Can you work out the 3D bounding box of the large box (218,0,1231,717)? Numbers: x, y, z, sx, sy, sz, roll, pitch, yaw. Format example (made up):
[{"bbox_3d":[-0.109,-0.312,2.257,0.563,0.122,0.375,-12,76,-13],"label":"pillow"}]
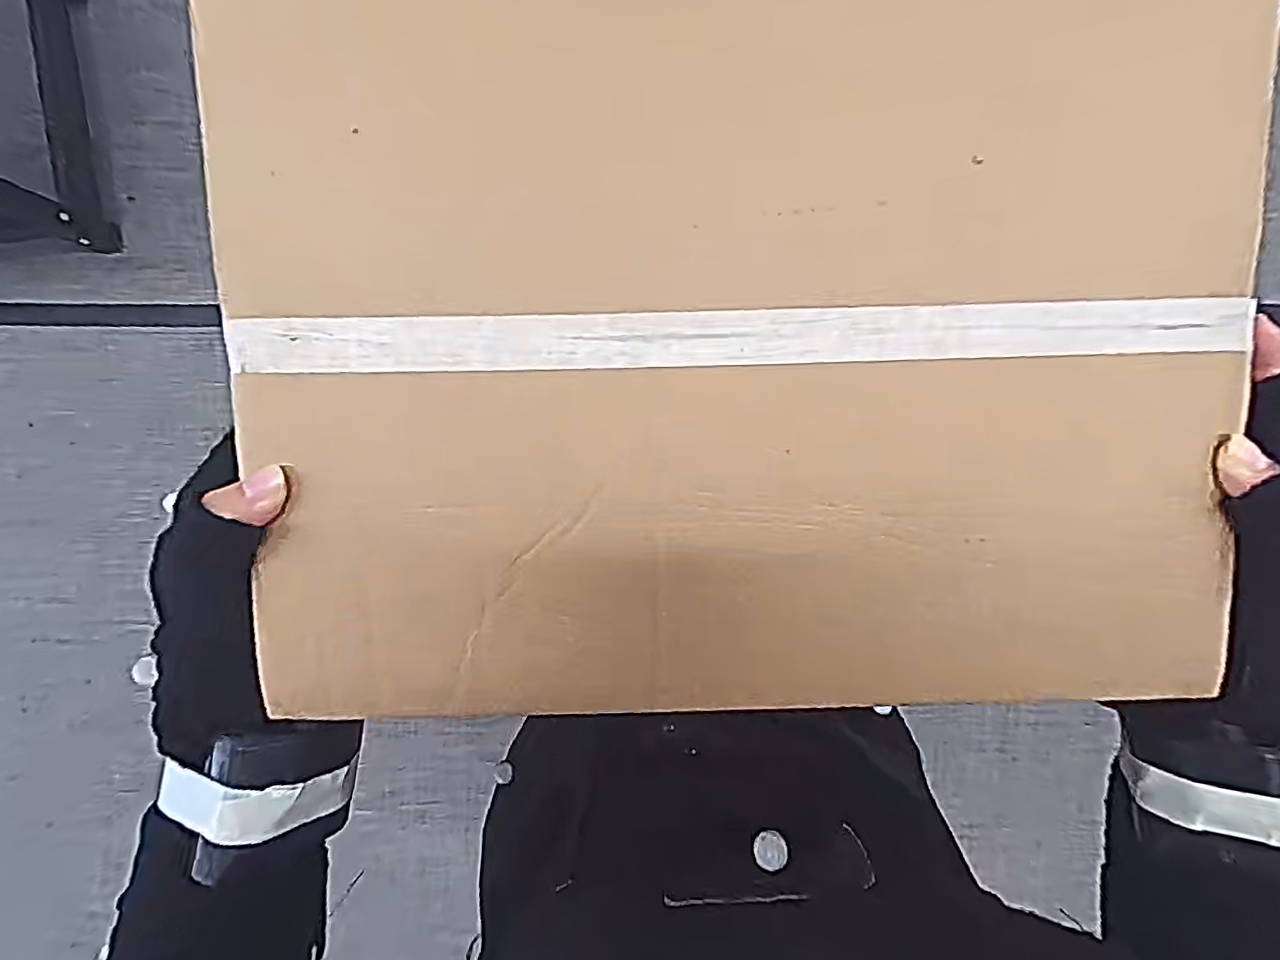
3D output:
[{"bbox_3d":[0.039,-0.070,0.375,0.408,0.320,0.320,-2,96,-1],"label":"large box"}]
